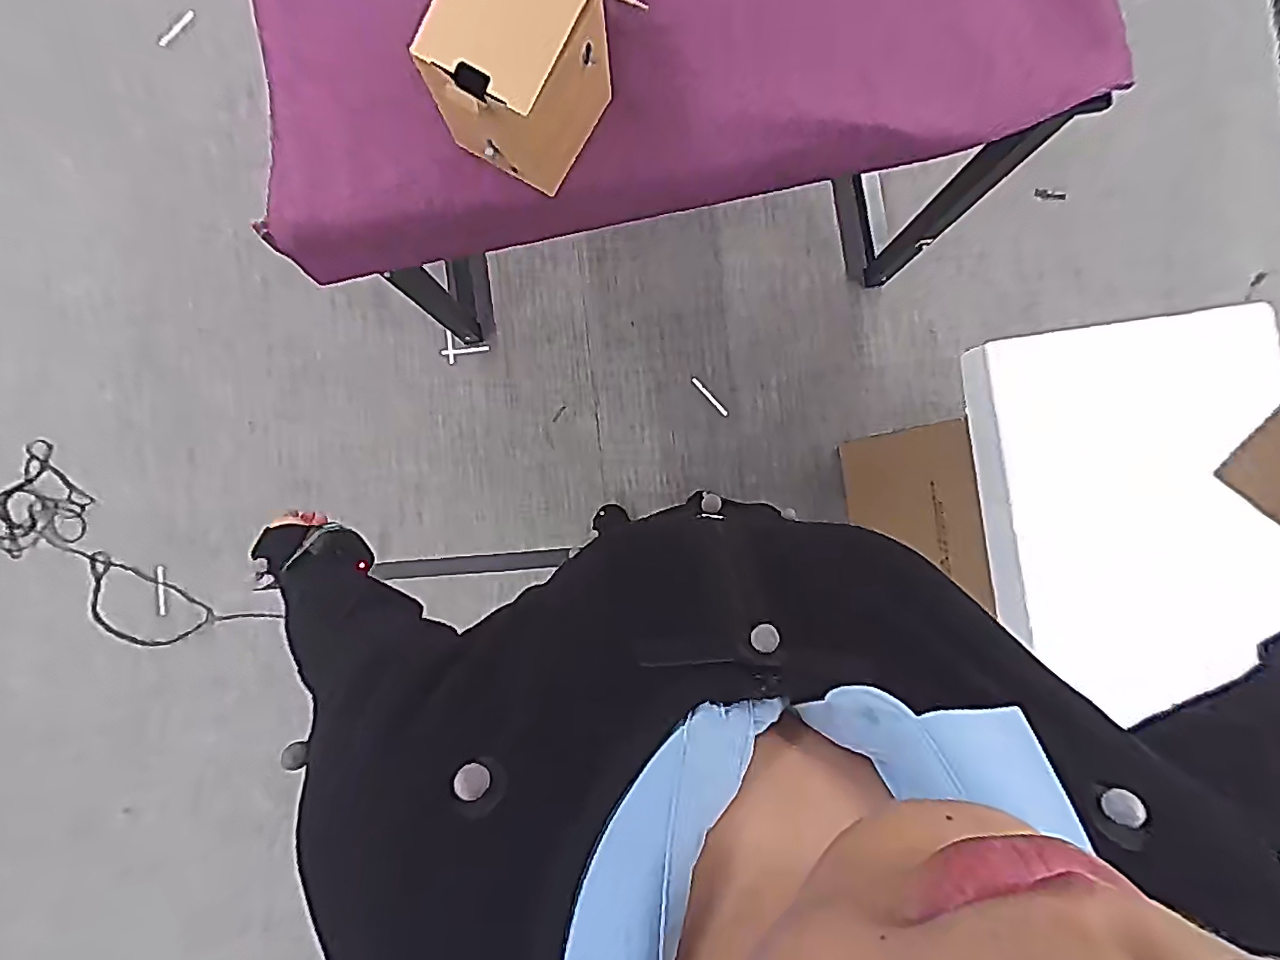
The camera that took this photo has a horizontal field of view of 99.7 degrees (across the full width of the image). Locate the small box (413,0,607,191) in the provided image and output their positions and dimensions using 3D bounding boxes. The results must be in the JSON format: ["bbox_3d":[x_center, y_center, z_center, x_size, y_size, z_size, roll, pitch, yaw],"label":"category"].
[{"bbox_3d":[-0.155,-0.533,0.713,0.168,0.176,0.179,30,88,3],"label":"small box"}]
